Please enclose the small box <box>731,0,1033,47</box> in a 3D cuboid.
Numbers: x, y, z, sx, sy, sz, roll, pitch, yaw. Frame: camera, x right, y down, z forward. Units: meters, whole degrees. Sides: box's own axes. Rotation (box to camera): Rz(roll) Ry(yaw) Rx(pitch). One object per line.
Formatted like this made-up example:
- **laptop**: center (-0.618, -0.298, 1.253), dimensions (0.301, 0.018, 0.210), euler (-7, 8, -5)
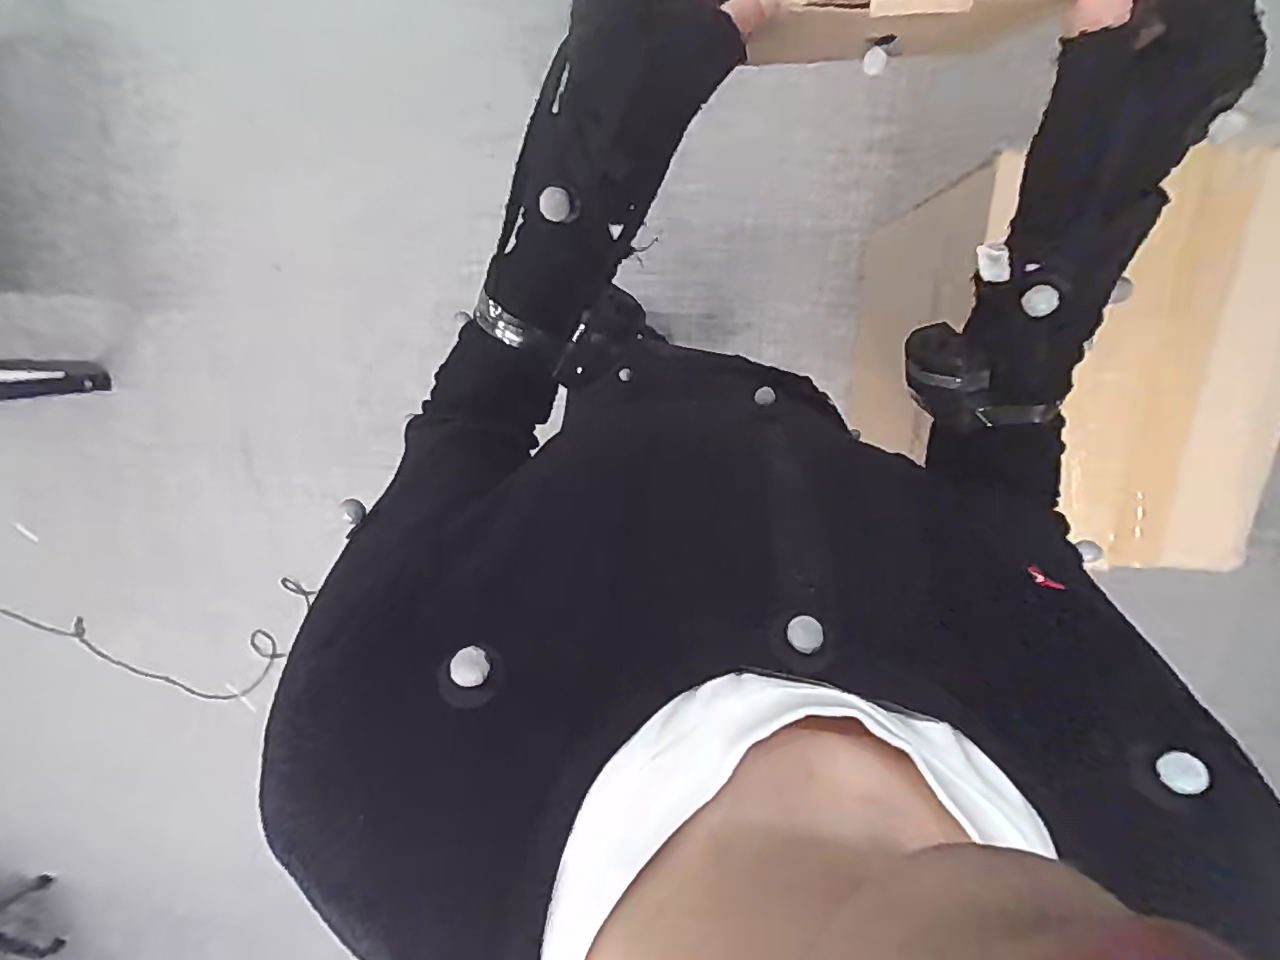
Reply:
- **small box**: center (0.135, -0.338, 0.272), dimensions (0.168, 0.176, 0.179), euler (3, 121, 9)
